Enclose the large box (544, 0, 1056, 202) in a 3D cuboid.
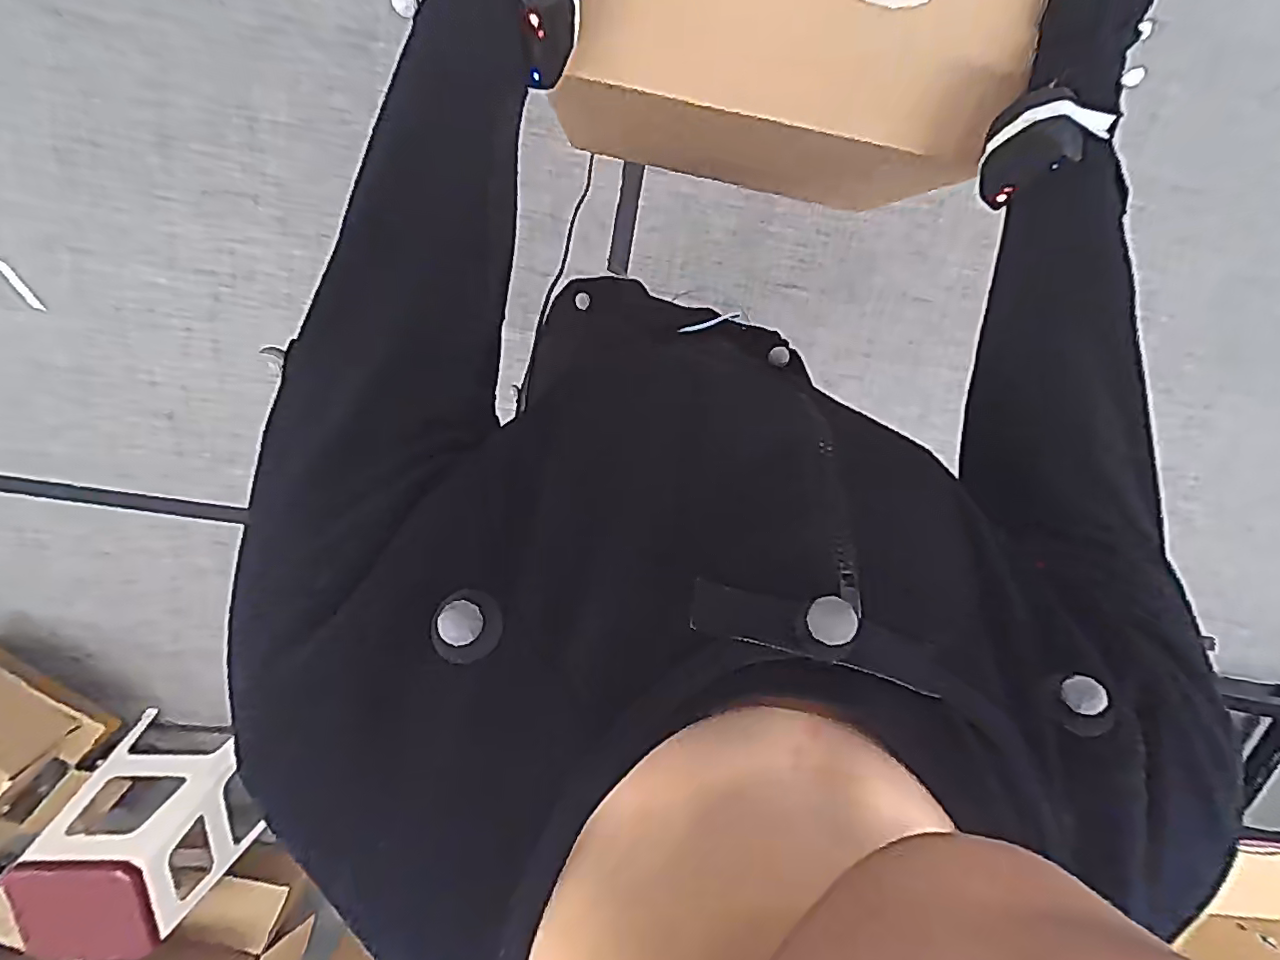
[{"bbox_3d":[0.138,-0.500,0.539,0.408,0.320,0.320,10,111,-5],"label":"large box"}]
